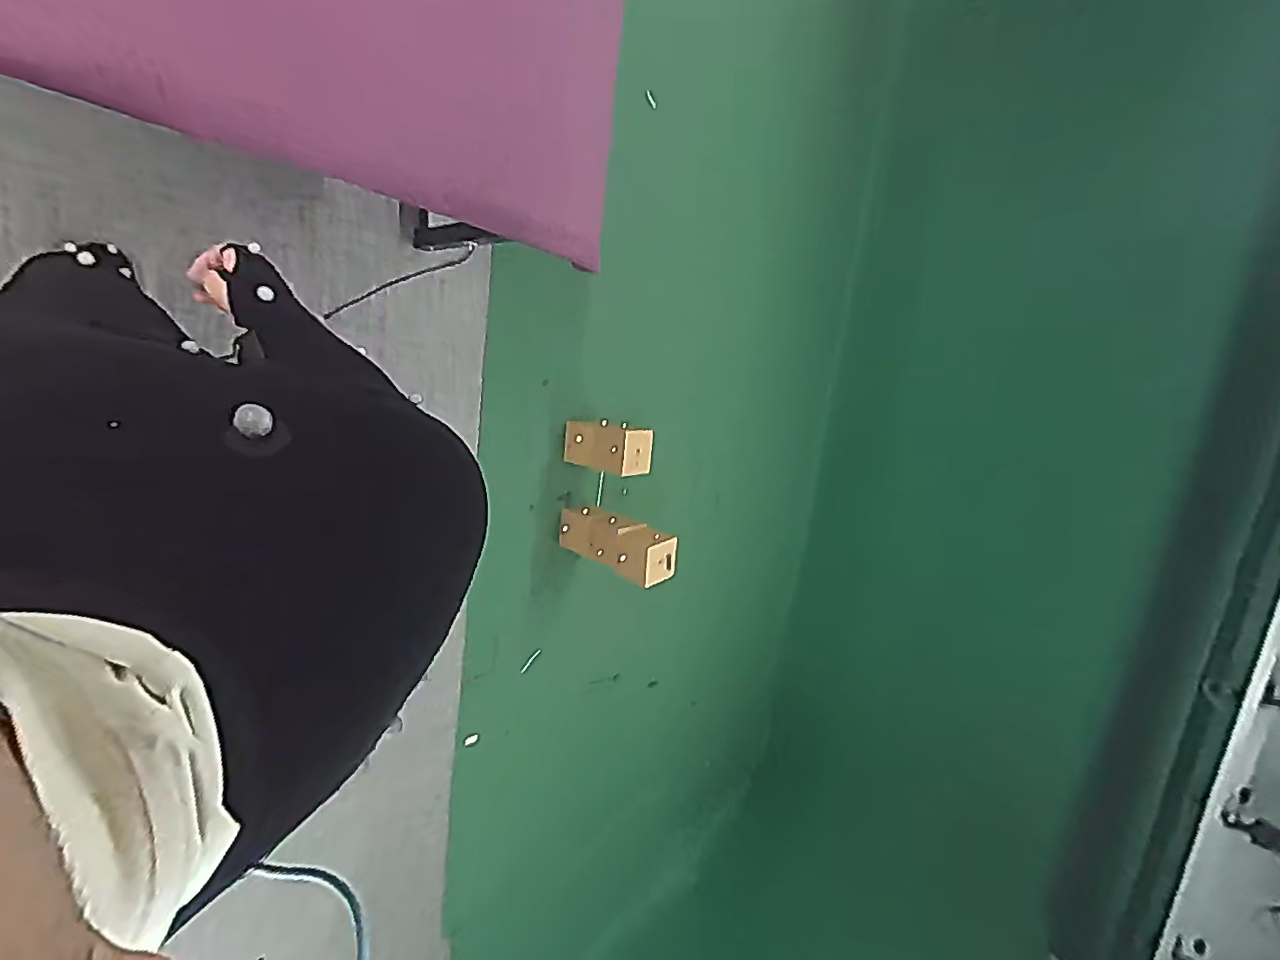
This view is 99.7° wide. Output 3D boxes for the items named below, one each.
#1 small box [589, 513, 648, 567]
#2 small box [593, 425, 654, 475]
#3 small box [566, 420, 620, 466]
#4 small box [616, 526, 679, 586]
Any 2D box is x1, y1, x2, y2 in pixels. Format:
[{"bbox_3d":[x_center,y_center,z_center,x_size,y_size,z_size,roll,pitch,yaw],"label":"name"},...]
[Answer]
[{"bbox_3d":[-0.092,0.242,2.219,0.179,0.176,0.168,-7,108,-49],"label":"small box"},{"bbox_3d":[-0.067,-0.125,2.131,0.168,0.176,0.179,-7,107,-49],"label":"small box"},{"bbox_3d":[-0.189,-0.155,2.238,0.179,0.176,0.168,-8,107,-50],"label":"small box"},{"bbox_3d":[0.028,0.291,2.118,0.179,0.176,0.168,-13,112,-45],"label":"small box"}]
